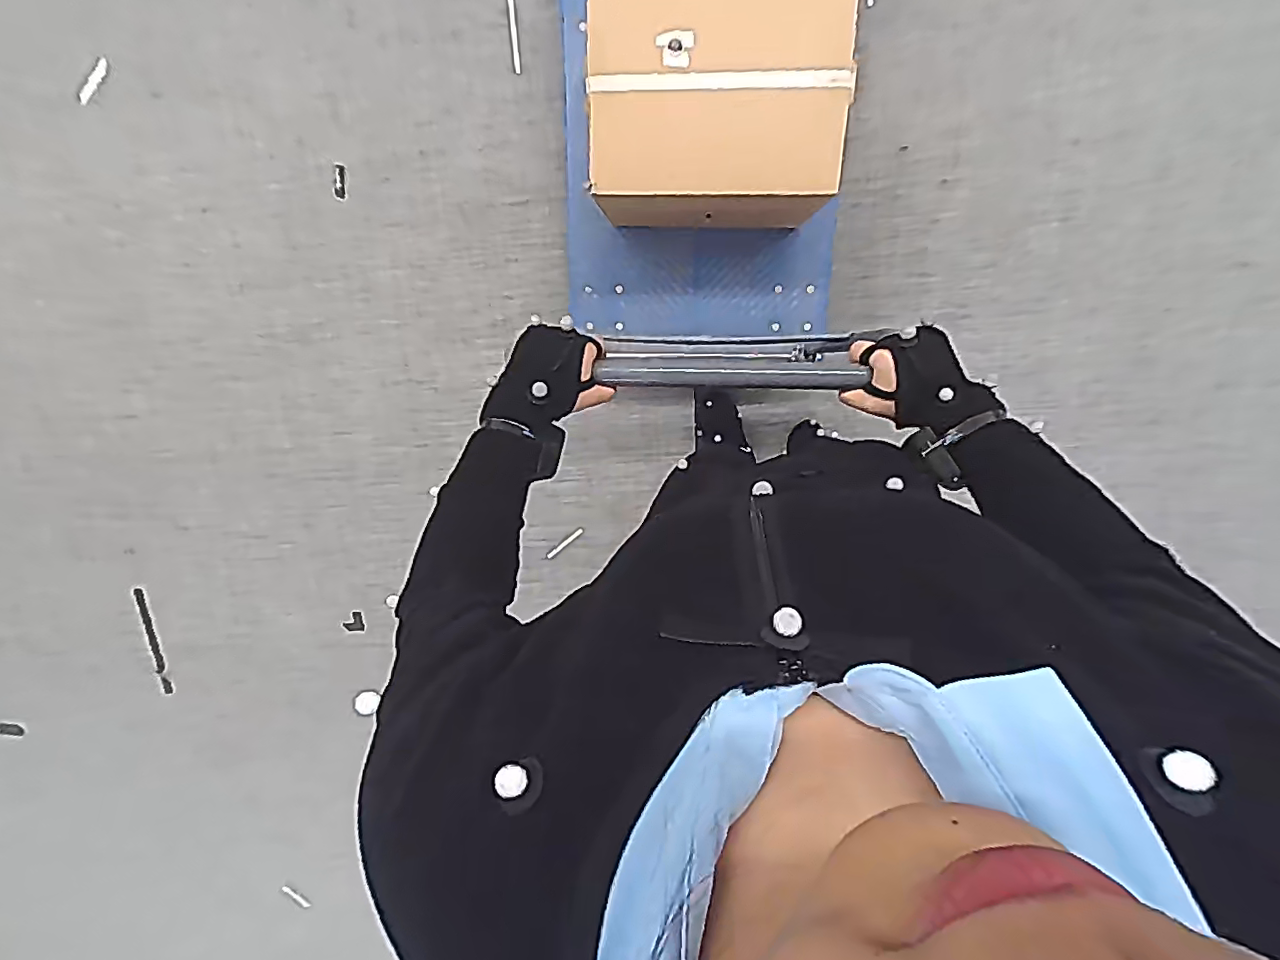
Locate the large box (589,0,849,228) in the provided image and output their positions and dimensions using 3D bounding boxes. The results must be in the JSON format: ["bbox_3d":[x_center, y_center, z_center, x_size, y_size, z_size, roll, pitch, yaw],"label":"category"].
[{"bbox_3d":[0.134,-0.661,1.003,0.408,0.320,0.320,2,105,5],"label":"large box"}]
